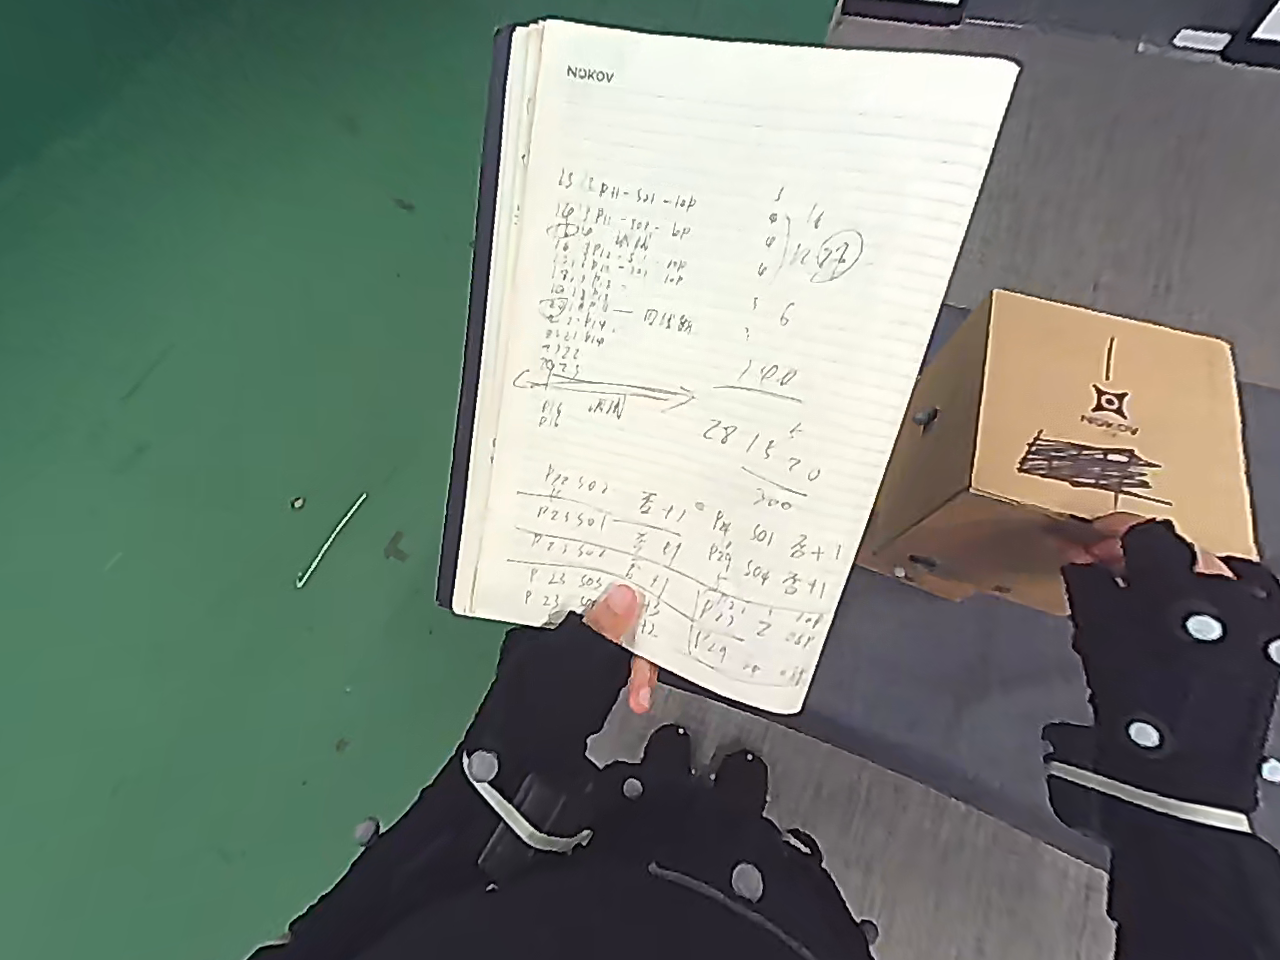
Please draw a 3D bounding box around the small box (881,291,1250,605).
[{"bbox_3d":[0.316,-0.014,0.440,0.168,0.176,0.179,17,67,8],"label":"small box"}]

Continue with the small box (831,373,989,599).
[{"bbox_3d":[0.337,0.014,0.624,0.168,0.176,0.179,21,69,15],"label":"small box"}]
